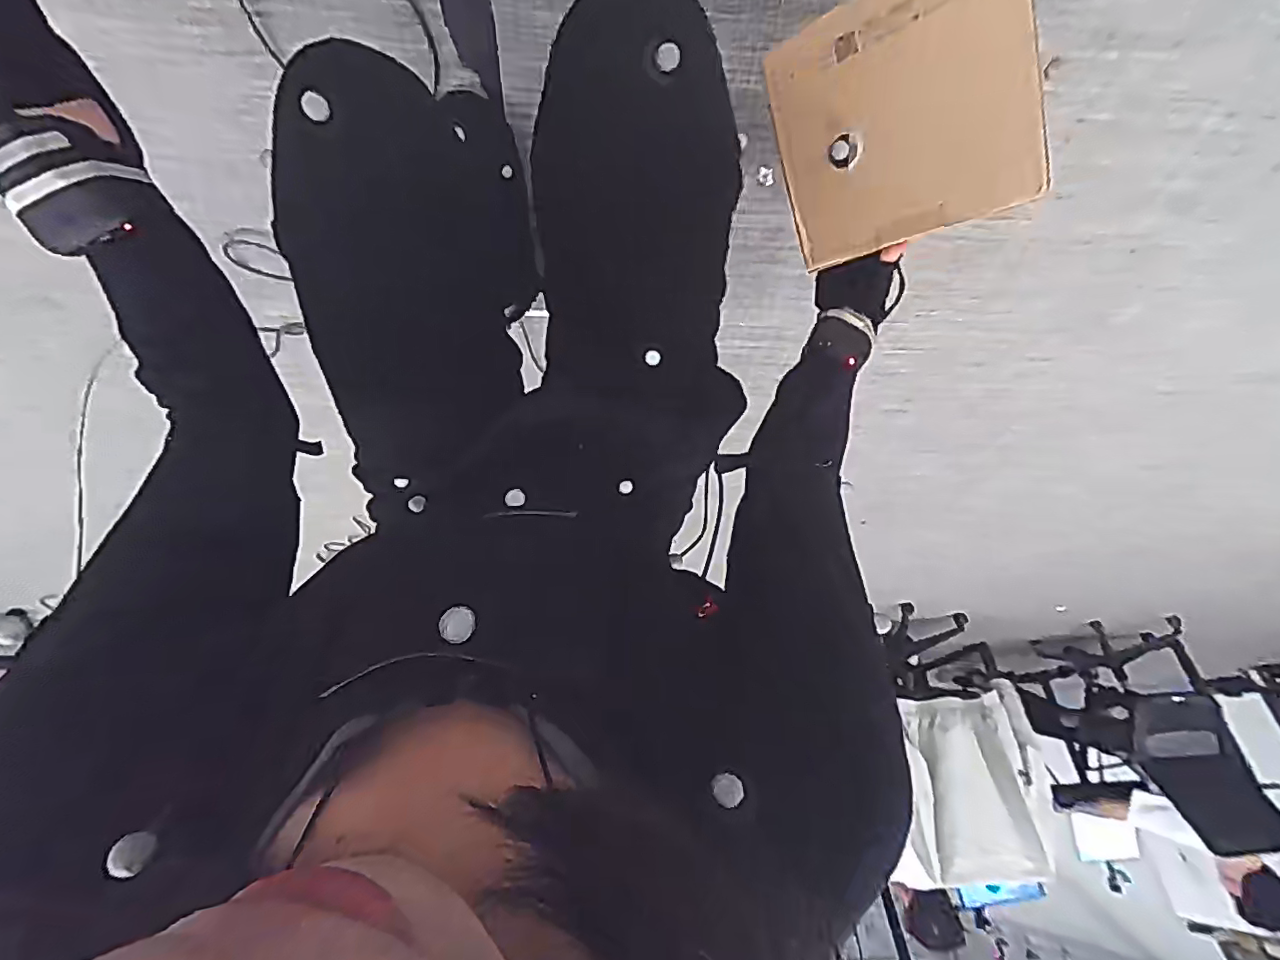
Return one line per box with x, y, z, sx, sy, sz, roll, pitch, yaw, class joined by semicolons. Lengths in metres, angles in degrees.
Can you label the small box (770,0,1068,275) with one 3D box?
0.221;-0.281;0.423;0.168;0.179;0.176;-4;113;39;small box
